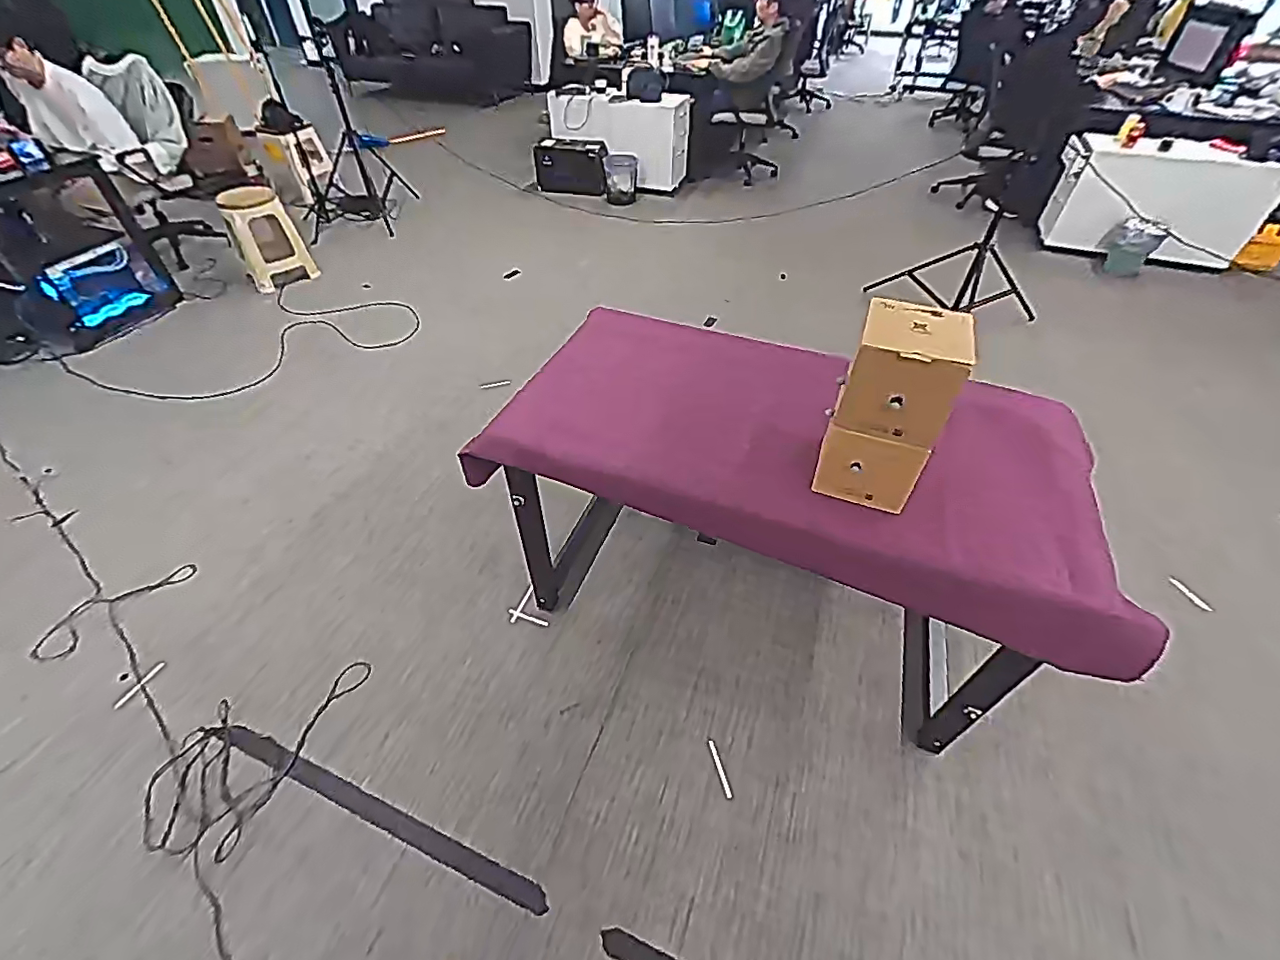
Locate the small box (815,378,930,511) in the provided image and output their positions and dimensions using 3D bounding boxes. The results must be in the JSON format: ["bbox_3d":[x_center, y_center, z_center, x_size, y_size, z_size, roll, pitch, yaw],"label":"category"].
[{"bbox_3d":[0.447,-0.067,1.045,0.168,0.176,0.179,16,47,15],"label":"small box"}]

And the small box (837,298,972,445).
[{"bbox_3d":[0.449,-0.185,0.932,0.168,0.176,0.179,17,48,16],"label":"small box"}]
